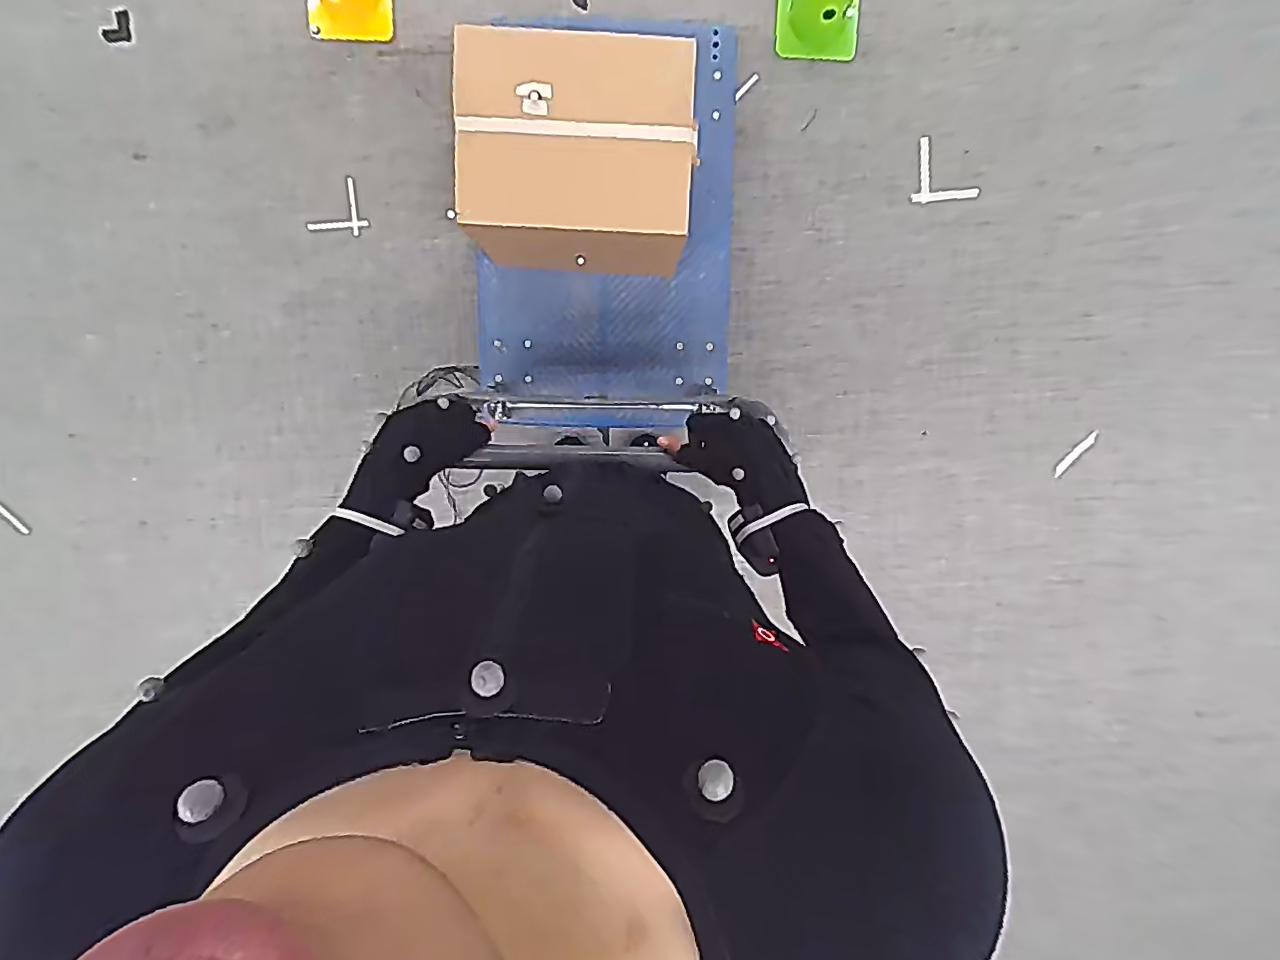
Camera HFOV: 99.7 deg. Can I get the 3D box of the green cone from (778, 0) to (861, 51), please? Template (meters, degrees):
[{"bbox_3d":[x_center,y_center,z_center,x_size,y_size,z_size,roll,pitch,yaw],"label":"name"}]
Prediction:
[{"bbox_3d":[0.446,-1.134,1.148,0.202,0.368,0.200,1,98,-2],"label":"green cone"}]

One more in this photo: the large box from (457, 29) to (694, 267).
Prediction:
[{"bbox_3d":[-0.109,-0.616,1.065,0.408,0.320,0.320,2,98,0],"label":"large box"}]
